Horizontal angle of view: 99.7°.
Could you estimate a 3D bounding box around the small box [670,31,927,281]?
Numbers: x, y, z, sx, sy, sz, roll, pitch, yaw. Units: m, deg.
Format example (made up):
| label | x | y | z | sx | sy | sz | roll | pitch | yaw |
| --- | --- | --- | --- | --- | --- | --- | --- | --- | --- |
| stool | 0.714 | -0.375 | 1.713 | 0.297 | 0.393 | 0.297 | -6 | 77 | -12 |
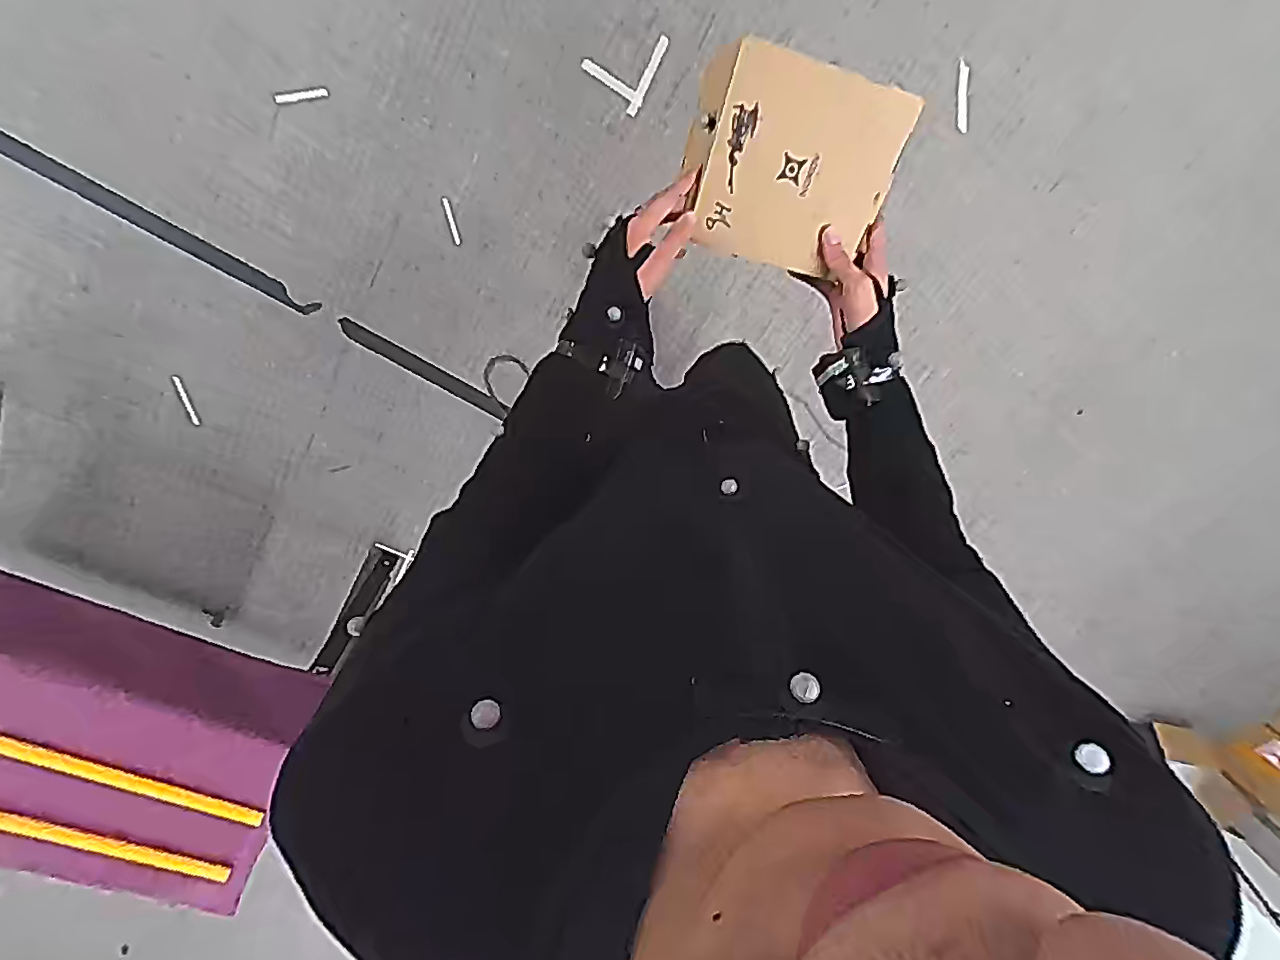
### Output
| label | x | y | z | sx | sy | sz | roll | pitch | yaw |
| --- | --- | --- | --- | --- | --- | --- | --- | --- | --- |
| small box | 0.143 | -0.329 | 0.561 | 0.179 | 0.176 | 0.168 | 11 | 122 | -12 |
